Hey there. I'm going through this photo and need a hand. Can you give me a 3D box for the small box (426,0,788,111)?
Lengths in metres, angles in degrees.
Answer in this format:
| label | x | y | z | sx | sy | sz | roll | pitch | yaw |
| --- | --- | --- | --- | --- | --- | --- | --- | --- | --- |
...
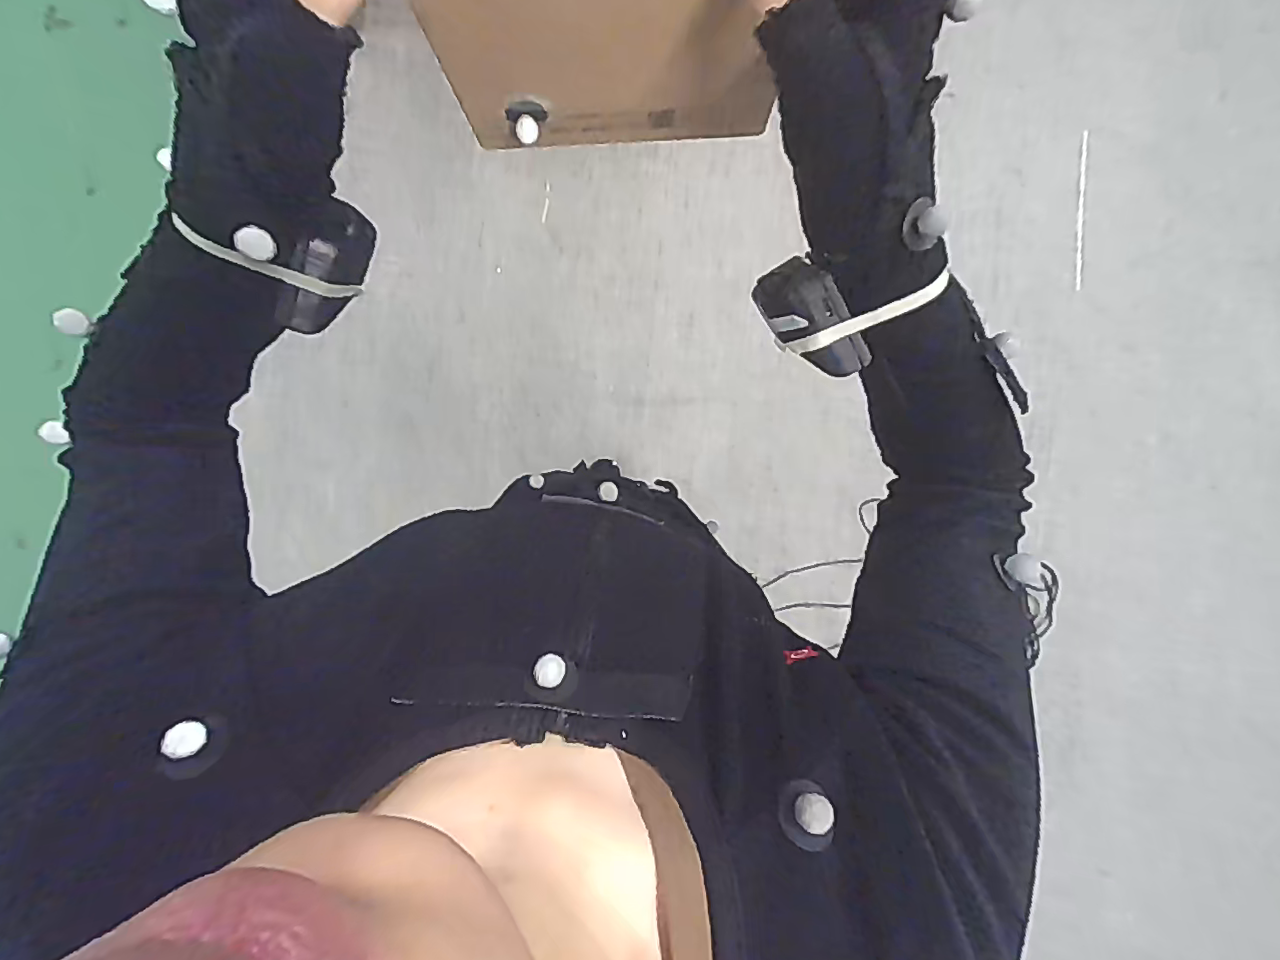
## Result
| label | x | y | z | sx | sy | sz | roll | pitch | yaw |
| --- | --- | --- | --- | --- | --- | --- | --- | --- | --- |
| small box | -0.016 | -0.290 | 0.229 | 0.168 | 0.176 | 0.179 | -3 | 89 | 0 |
